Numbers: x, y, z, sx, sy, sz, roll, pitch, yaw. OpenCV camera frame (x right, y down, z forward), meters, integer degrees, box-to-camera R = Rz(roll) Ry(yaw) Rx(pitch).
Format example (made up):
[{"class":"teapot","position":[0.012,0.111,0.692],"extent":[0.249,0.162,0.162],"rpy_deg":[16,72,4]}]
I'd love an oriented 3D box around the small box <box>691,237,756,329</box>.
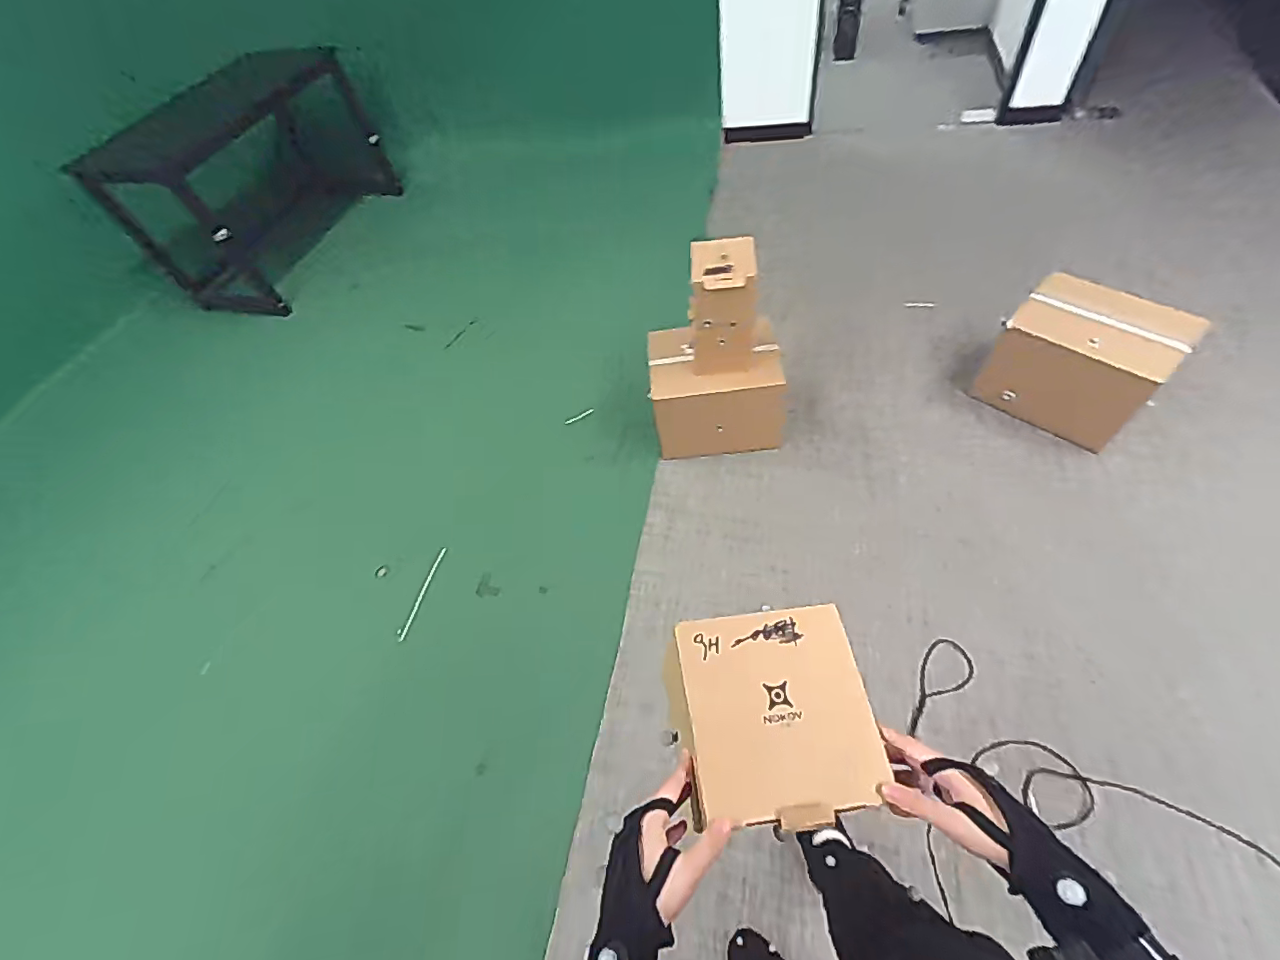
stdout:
[{"class":"small box","position":[0.229,-0.530,1.477],"extent":[0.168,0.176,0.179],"rpy_deg":[-3,56,9]}]

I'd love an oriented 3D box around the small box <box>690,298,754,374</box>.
[{"class":"small box","position":[0.245,-0.434,1.609],"extent":[0.179,0.176,0.168],"rpy_deg":[-4,56,8]}]

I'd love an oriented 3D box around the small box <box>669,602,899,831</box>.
[{"class":"small box","position":[0.125,0.241,0.551],"extent":[0.168,0.176,0.179],"rpy_deg":[-5,59,-5]}]

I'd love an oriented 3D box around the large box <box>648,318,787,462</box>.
[{"class":"large box","position":[0.256,-0.291,1.810],"extent":[0.408,0.320,0.320],"rpy_deg":[-8,53,7]}]
